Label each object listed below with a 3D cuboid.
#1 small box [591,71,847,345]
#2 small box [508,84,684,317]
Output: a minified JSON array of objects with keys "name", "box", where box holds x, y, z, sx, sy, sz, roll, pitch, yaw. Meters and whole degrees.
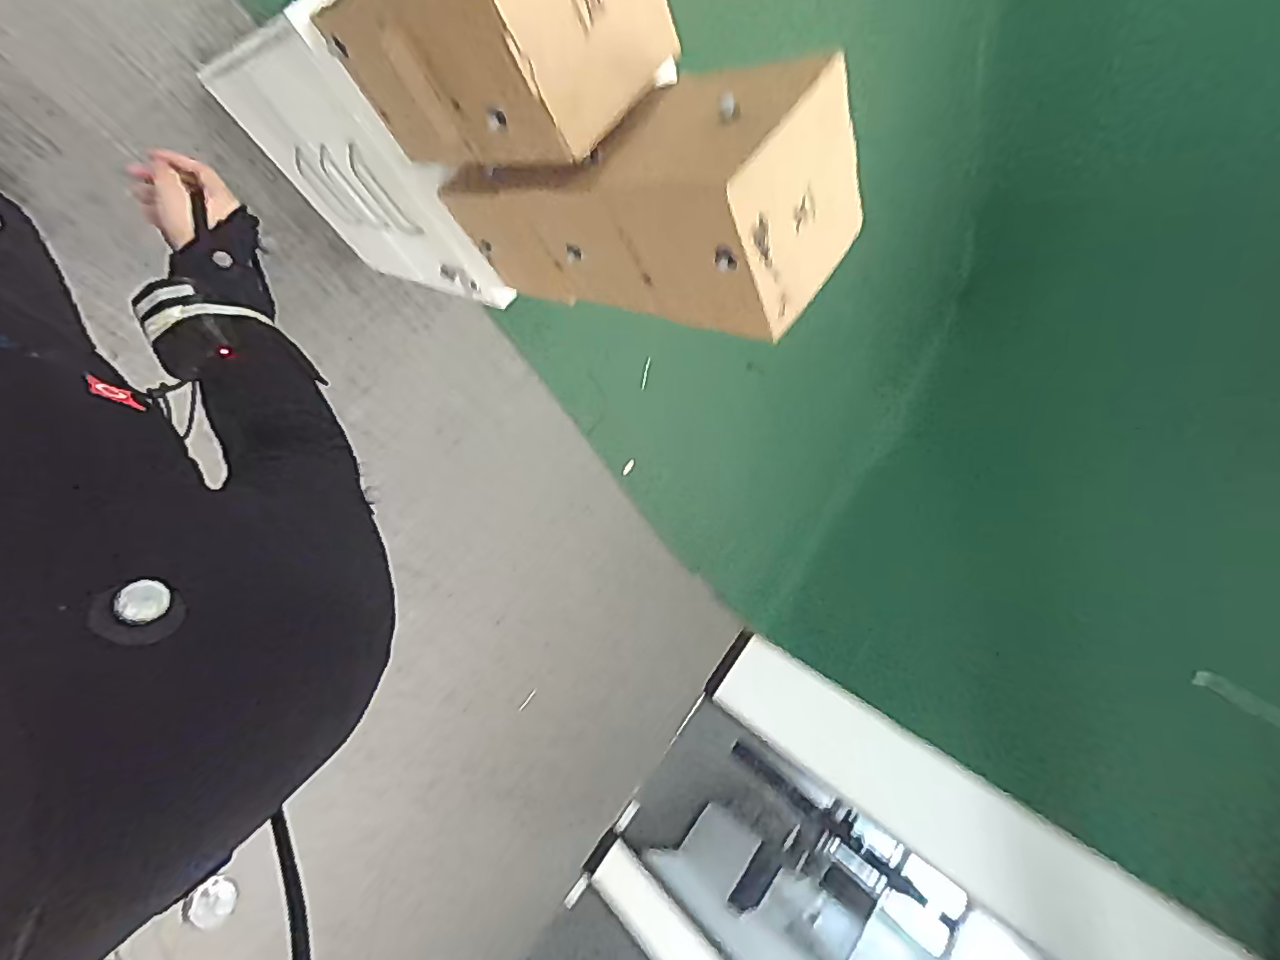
[{"name":"small box","box":[0.084,-0.269,0.546,0.179,0.176,0.168,-53,140,-14]},{"name":"small box","box":[-0.032,-0.327,0.647,0.179,0.176,0.168,-54,141,-12]}]
